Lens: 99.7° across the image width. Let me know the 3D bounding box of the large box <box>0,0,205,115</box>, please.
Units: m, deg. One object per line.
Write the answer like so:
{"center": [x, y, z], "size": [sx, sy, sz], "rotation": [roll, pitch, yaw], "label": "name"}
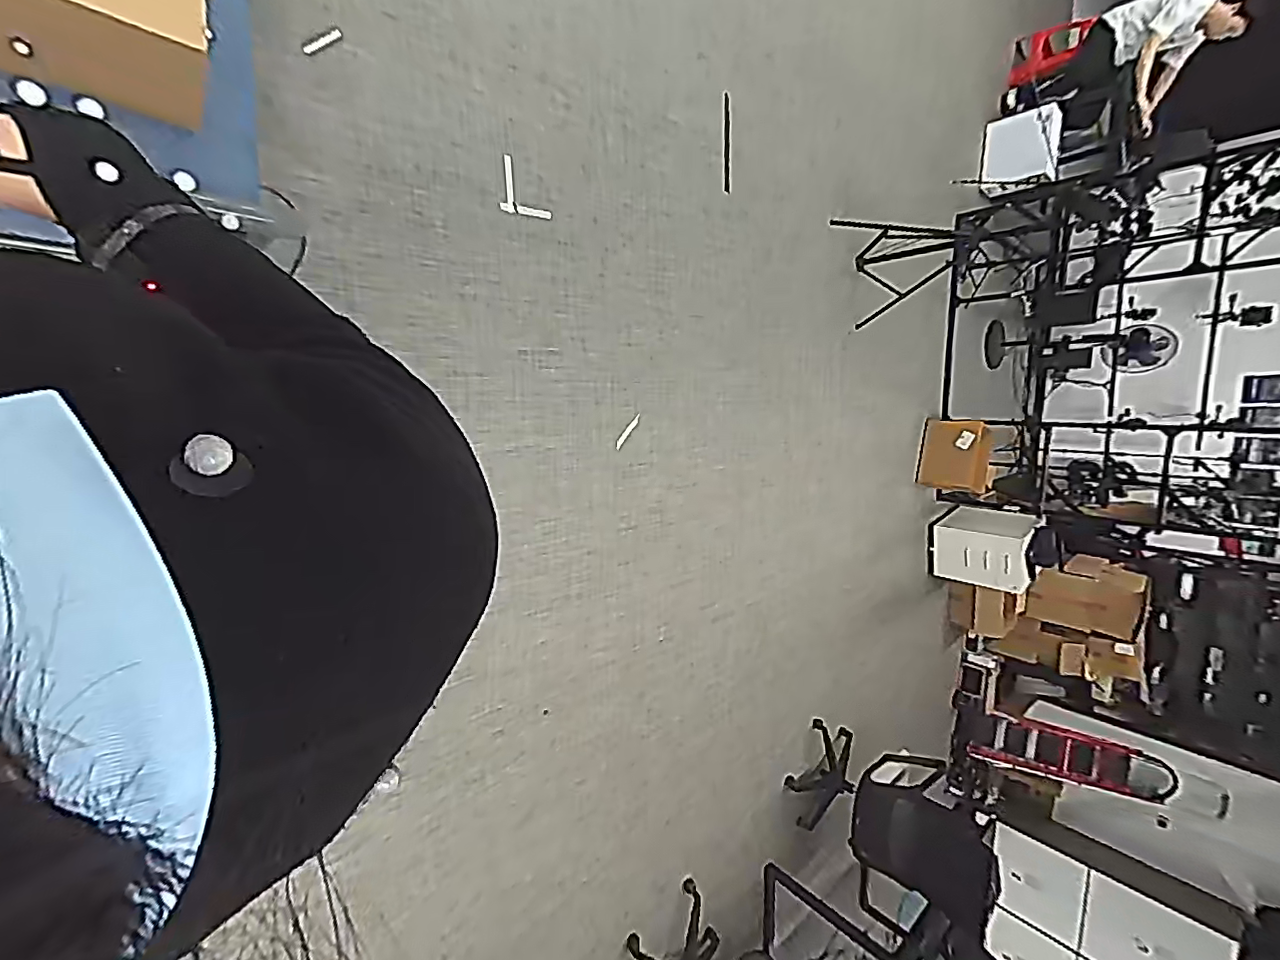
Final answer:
{"center": [-0.854, -0.777, 0.725], "size": [0.408, 0.320, 0.320], "rotation": [-2, 97, -41], "label": "large box"}
